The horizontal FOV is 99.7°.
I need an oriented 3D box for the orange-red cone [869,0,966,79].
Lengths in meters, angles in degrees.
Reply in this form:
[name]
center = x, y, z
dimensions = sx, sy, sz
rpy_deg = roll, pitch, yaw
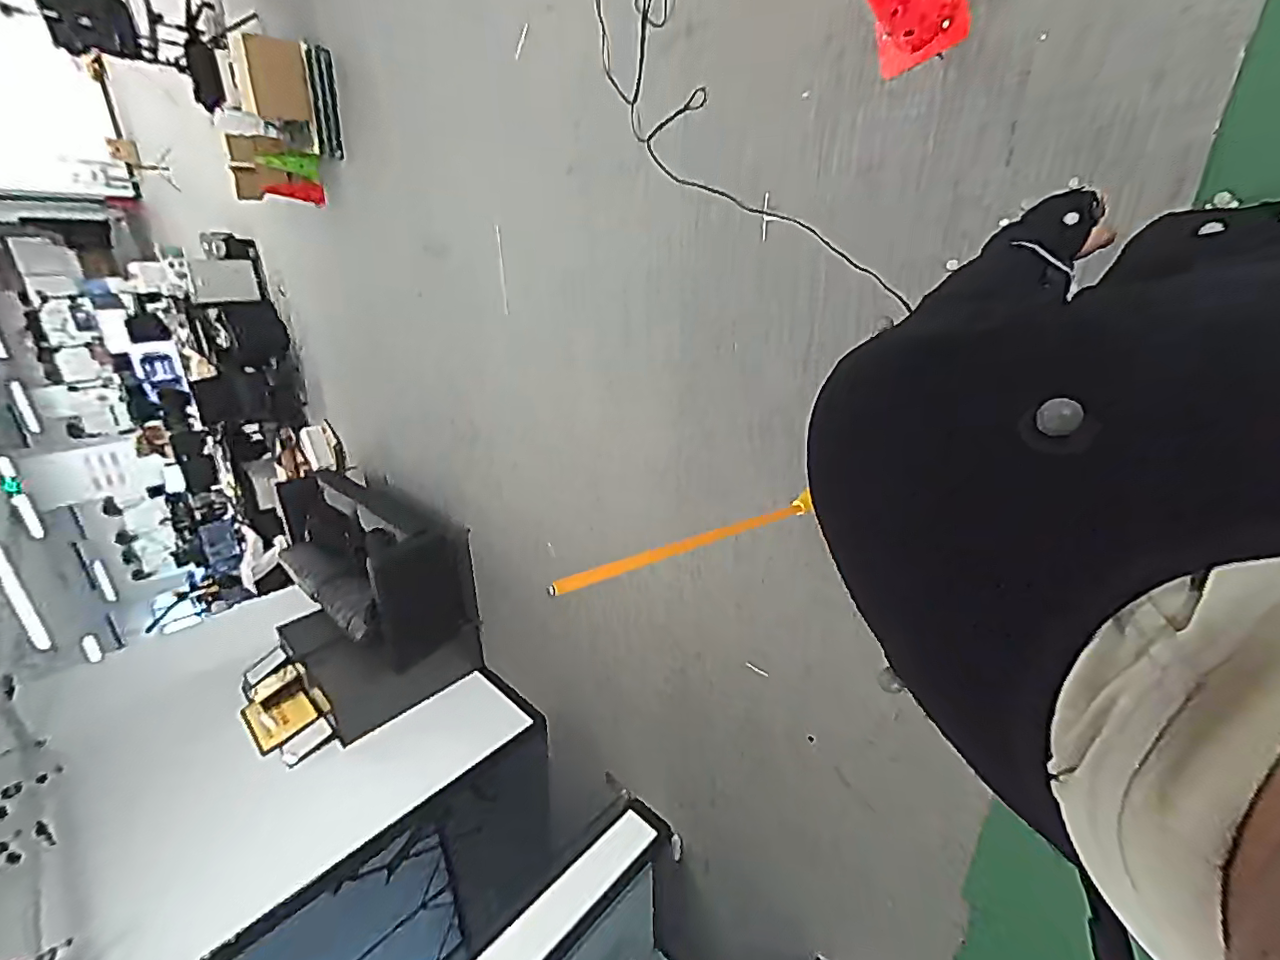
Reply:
[orange-red cone]
center = 0.554, -1.065, 1.184
dimensions = 0.198, 0.360, 0.199
rpy_deg = 1, 105, 45
